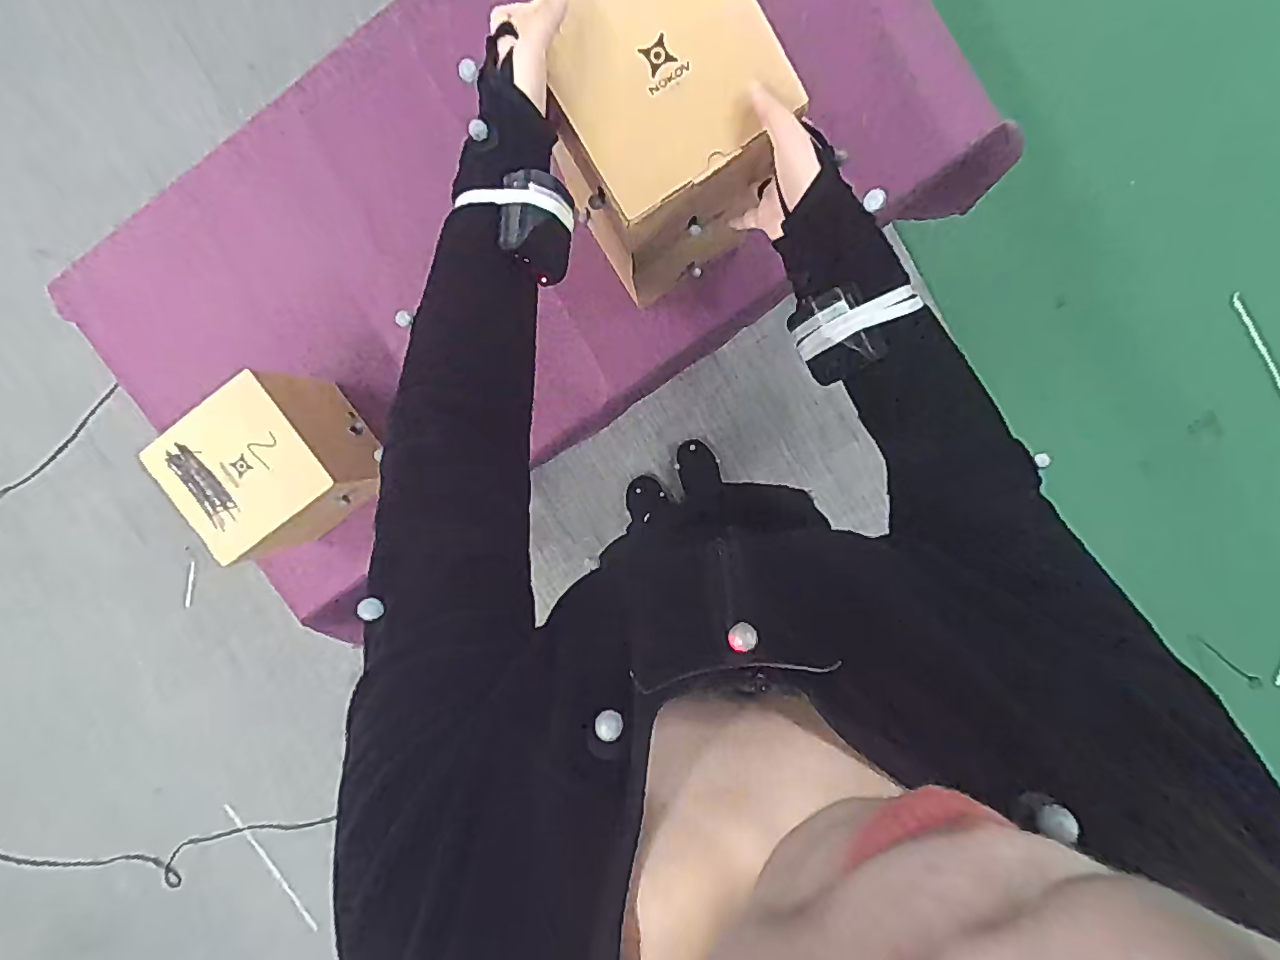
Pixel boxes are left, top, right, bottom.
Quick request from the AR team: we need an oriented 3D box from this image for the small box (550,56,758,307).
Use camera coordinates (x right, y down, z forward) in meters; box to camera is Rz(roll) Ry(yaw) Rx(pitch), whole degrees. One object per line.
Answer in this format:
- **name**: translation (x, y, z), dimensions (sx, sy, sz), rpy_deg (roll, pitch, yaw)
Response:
- **small box**: translation (0.017, -0.339, 0.656), dimensions (0.168, 0.176, 0.179), rpy_deg (-31, 93, 6)
